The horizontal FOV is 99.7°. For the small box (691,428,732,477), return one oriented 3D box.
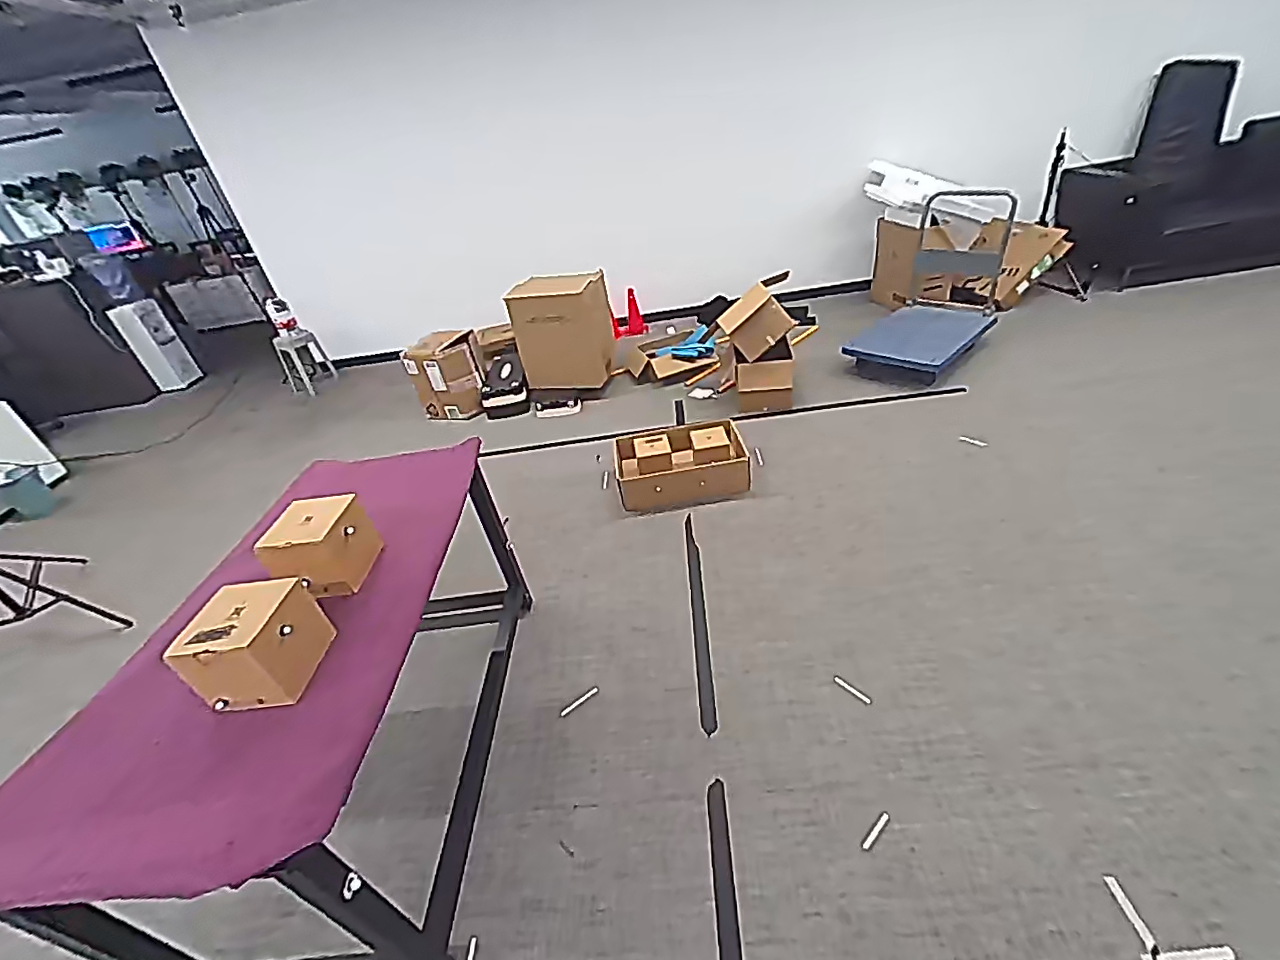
[{"bbox_3d":[0.349,-0.127,2.632,0.168,0.176,0.179,-9,33,2],"label":"small box"}]

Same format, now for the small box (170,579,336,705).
[{"bbox_3d":[-0.738,0.321,1.060,0.168,0.176,0.179,-7,33,5],"label":"small box"}]

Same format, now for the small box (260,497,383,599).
[{"bbox_3d":[-0.747,0.163,1.297,0.168,0.176,0.179,-7,35,5],"label":"small box"}]
